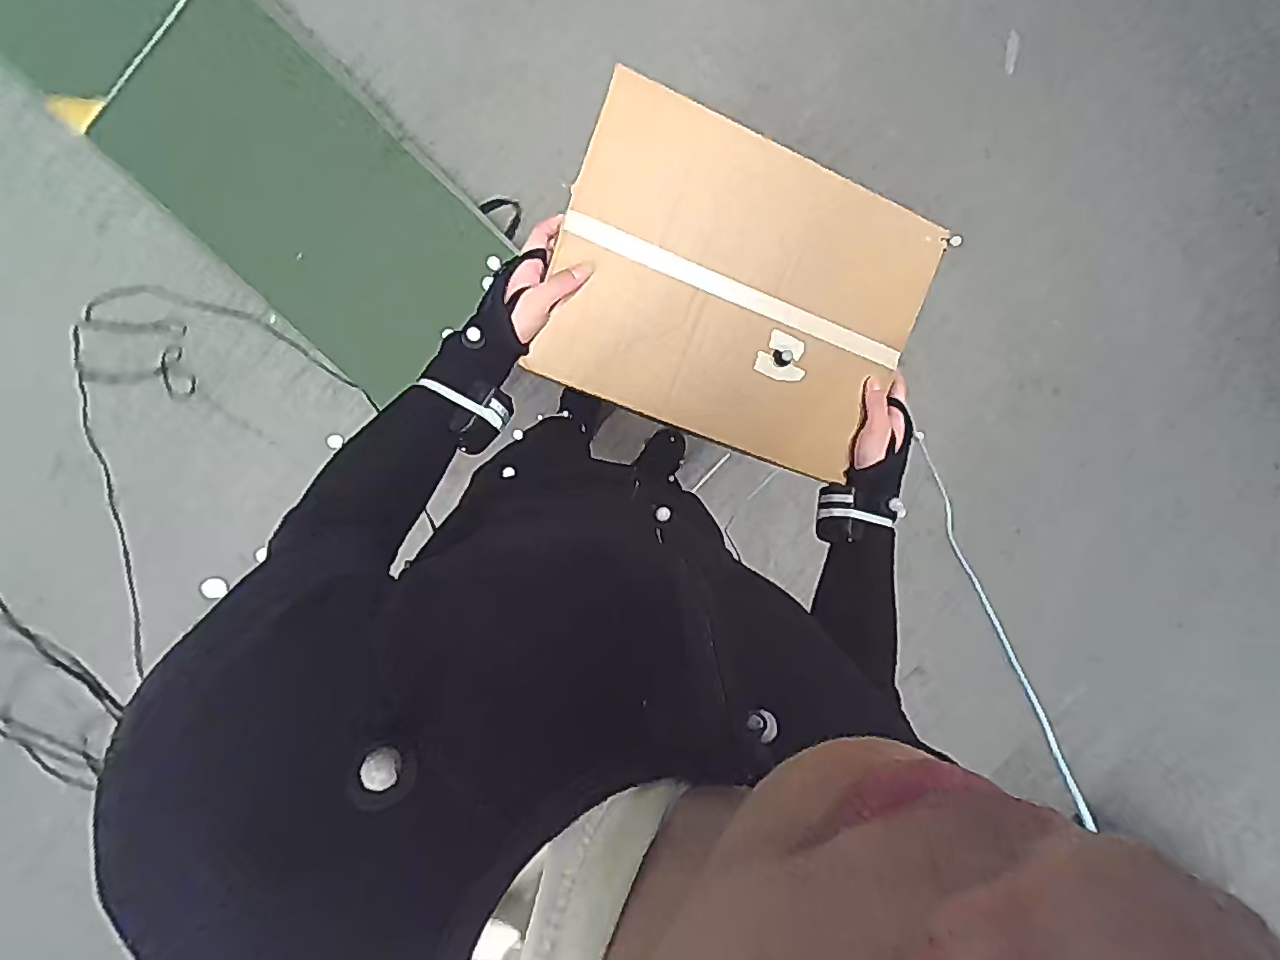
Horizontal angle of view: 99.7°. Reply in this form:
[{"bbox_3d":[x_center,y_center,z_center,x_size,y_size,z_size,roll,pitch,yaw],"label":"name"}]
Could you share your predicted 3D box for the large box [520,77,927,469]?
[{"bbox_3d":[0.075,-0.232,0.741,0.408,0.320,0.320,18,96,-12],"label":"large box"}]
